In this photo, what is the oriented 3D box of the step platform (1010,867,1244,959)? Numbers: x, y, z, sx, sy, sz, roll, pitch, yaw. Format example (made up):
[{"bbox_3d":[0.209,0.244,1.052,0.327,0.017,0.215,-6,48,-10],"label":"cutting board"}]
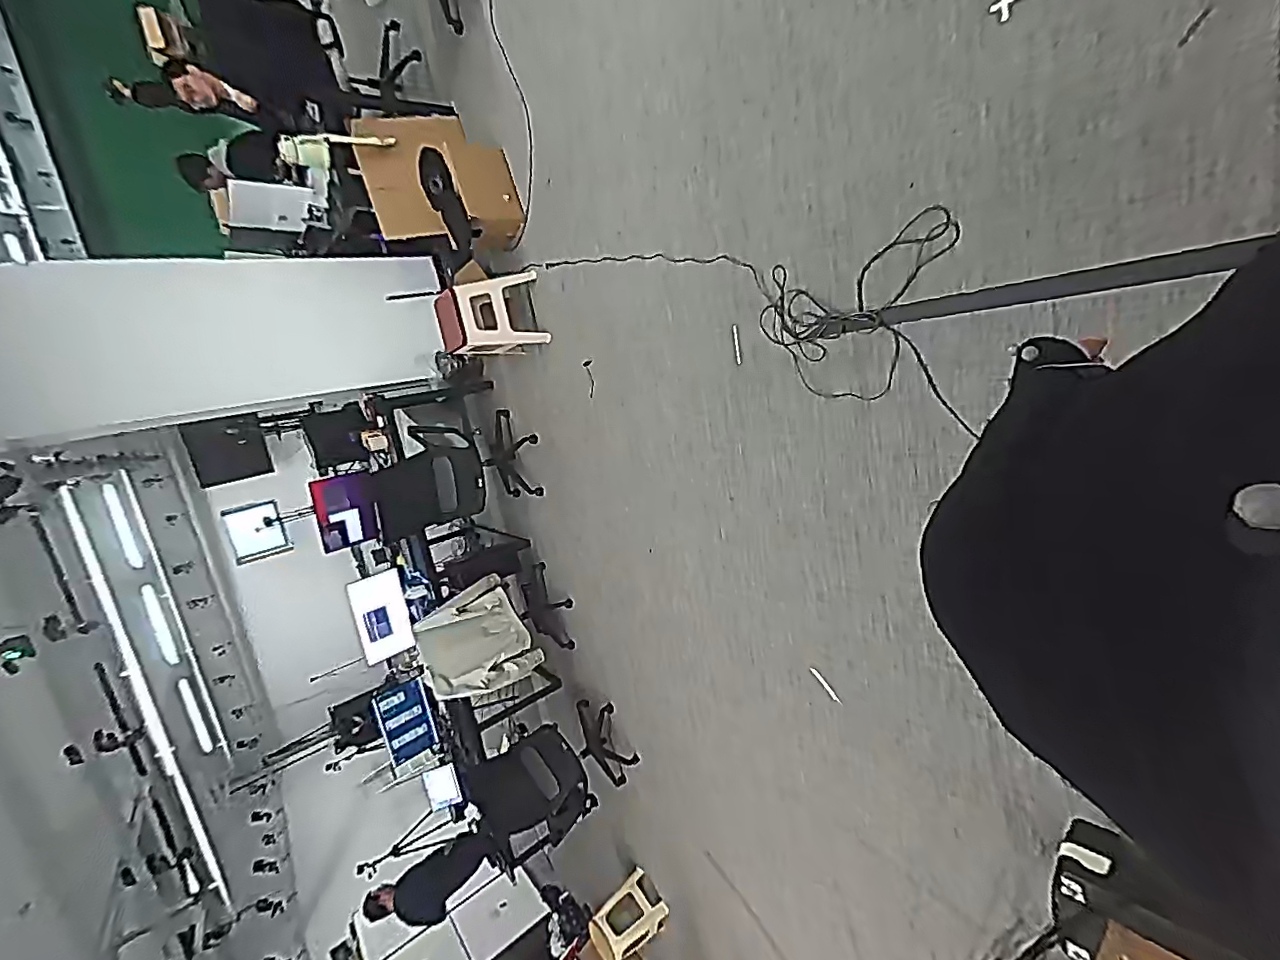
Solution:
[{"bbox_3d":[1.158,1.108,1.063,0.684,0.204,0.286,3,108,54],"label":"step platform"}]
